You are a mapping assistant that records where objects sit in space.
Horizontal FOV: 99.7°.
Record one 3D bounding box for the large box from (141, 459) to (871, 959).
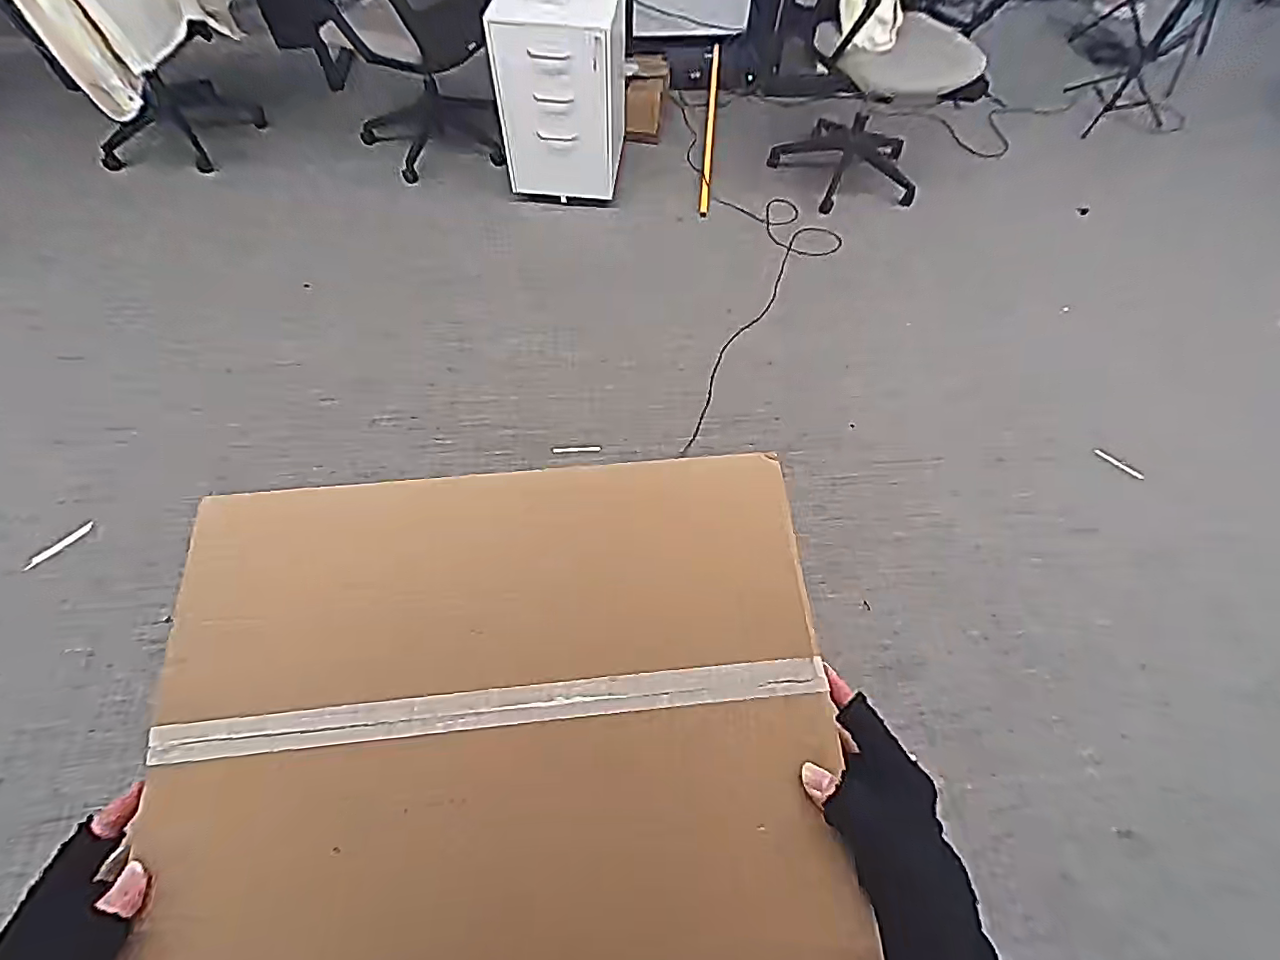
[{"bbox_3d":[-0.086,0.199,0.480,0.408,0.320,0.320,-5,69,-3],"label":"large box"}]
